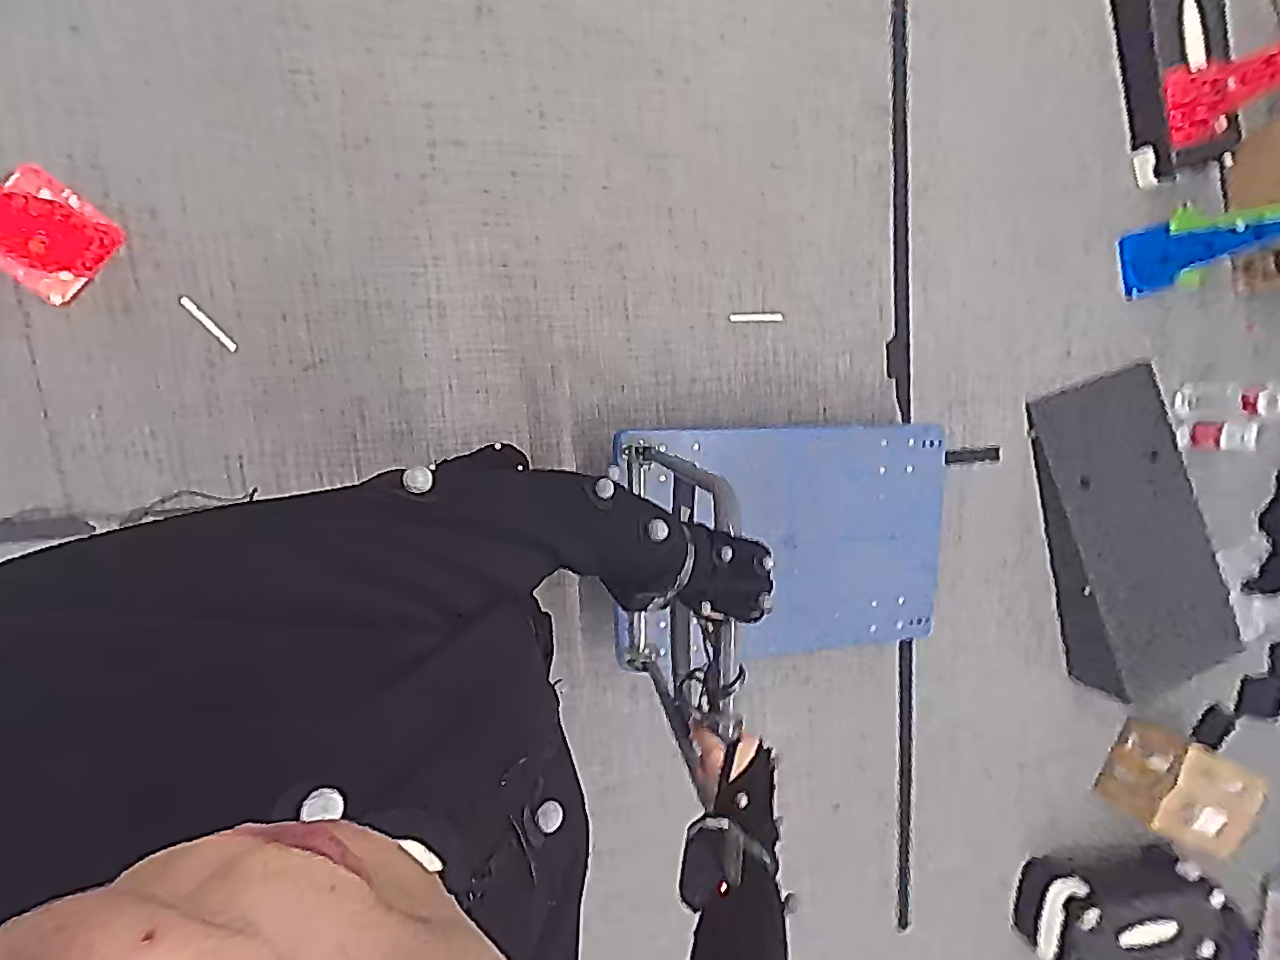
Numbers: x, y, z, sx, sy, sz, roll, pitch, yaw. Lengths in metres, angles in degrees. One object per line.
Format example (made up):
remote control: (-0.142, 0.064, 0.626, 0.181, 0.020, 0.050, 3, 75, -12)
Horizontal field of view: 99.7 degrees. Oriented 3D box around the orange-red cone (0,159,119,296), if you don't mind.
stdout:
orange-red cone: (-1.127, -0.465, 0.893, 0.199, 0.360, 0.198, 42, 87, -16)
